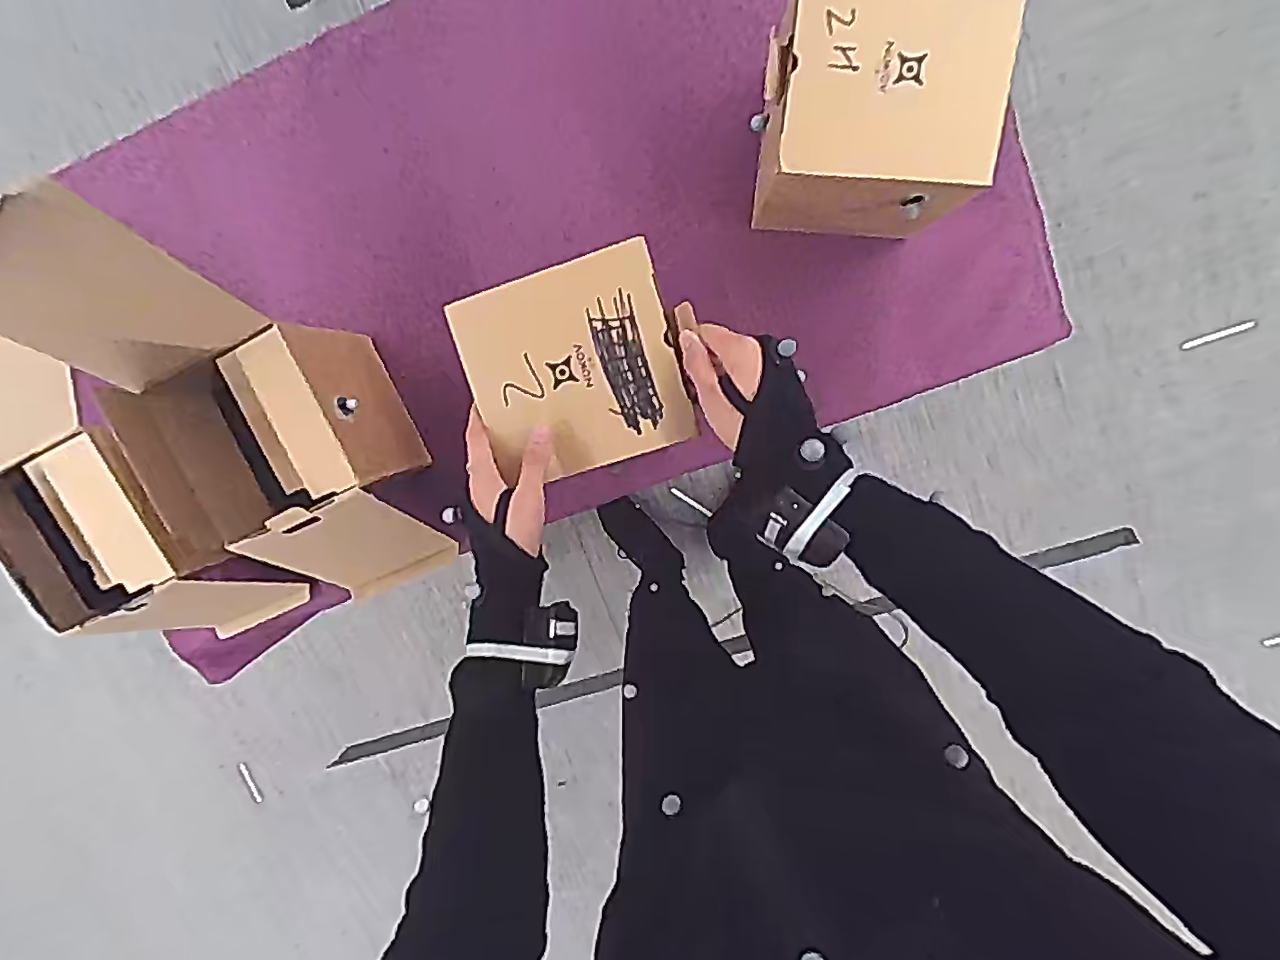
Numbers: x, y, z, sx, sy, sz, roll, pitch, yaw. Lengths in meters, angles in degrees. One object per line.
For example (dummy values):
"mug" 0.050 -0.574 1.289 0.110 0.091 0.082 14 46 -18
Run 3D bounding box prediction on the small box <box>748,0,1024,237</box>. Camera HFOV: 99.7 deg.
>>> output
"small box" 0.207 -0.337 0.505 0.179 0.176 0.168 6 101 4

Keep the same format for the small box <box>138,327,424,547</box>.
"small box" -0.377 -0.053 0.606 0.168 0.176 0.179 -23 98 7
